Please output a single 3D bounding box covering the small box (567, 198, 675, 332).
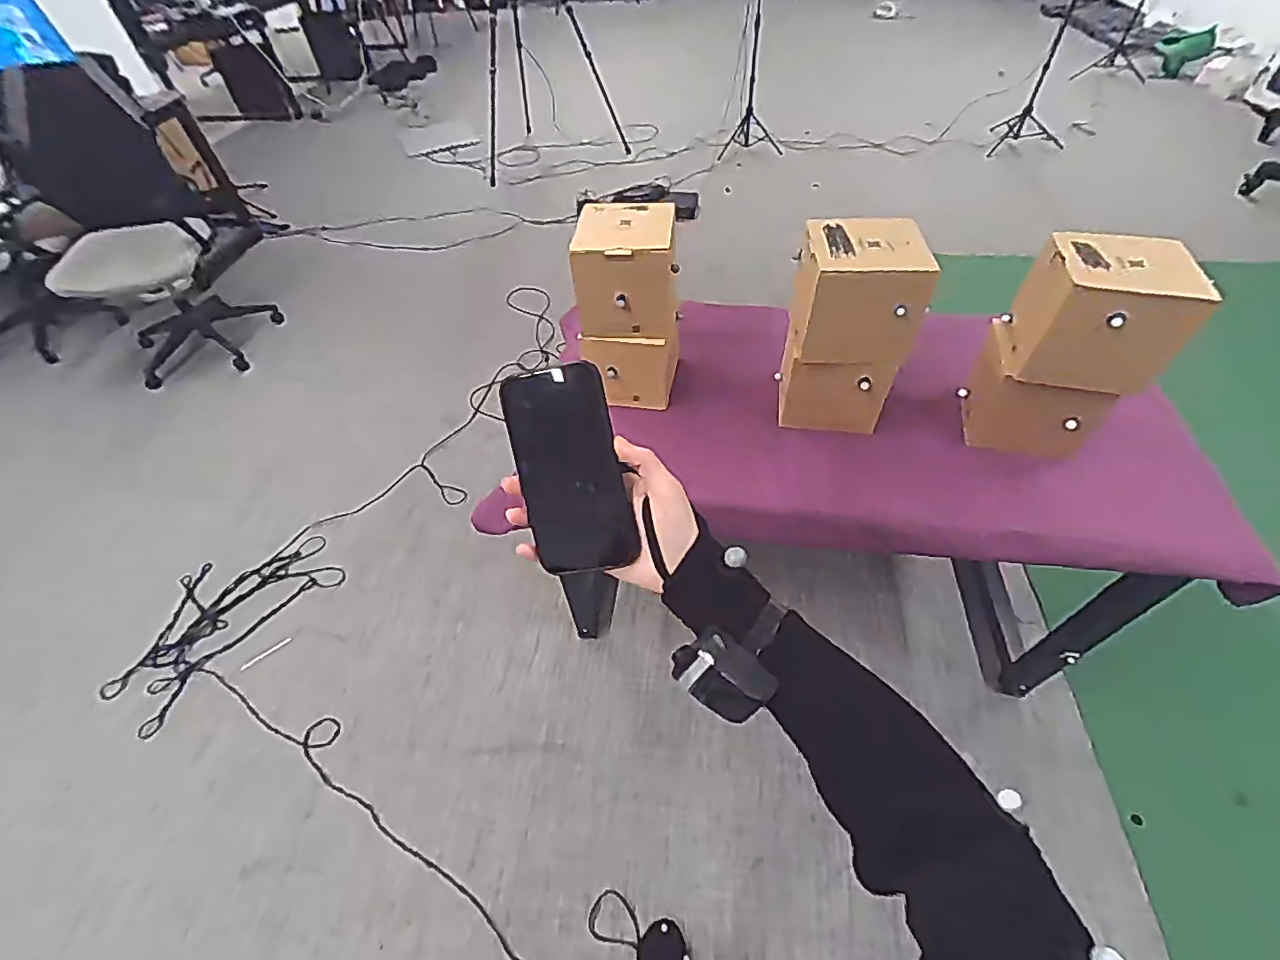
[{"bbox_3d":[-0.024,-0.382,0.972,0.168,0.176,0.179,2,51,6],"label":"small box"}]

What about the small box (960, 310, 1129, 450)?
[{"bbox_3d":[0.697,-0.174,0.956,0.179,0.176,0.168,10,51,13],"label":"small box"}]

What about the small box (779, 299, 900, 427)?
[{"bbox_3d":[0.365,-0.217,1.017,0.179,0.176,0.168,5,51,9],"label":"small box"}]

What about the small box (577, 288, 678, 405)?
[{"bbox_3d":[-0.015,-0.270,1.092,0.168,0.176,0.179,6,51,9],"label":"small box"}]

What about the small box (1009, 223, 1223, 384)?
[{"bbox_3d":[0.693,-0.266,0.821,0.179,0.176,0.168,11,51,12],"label":"small box"}]
